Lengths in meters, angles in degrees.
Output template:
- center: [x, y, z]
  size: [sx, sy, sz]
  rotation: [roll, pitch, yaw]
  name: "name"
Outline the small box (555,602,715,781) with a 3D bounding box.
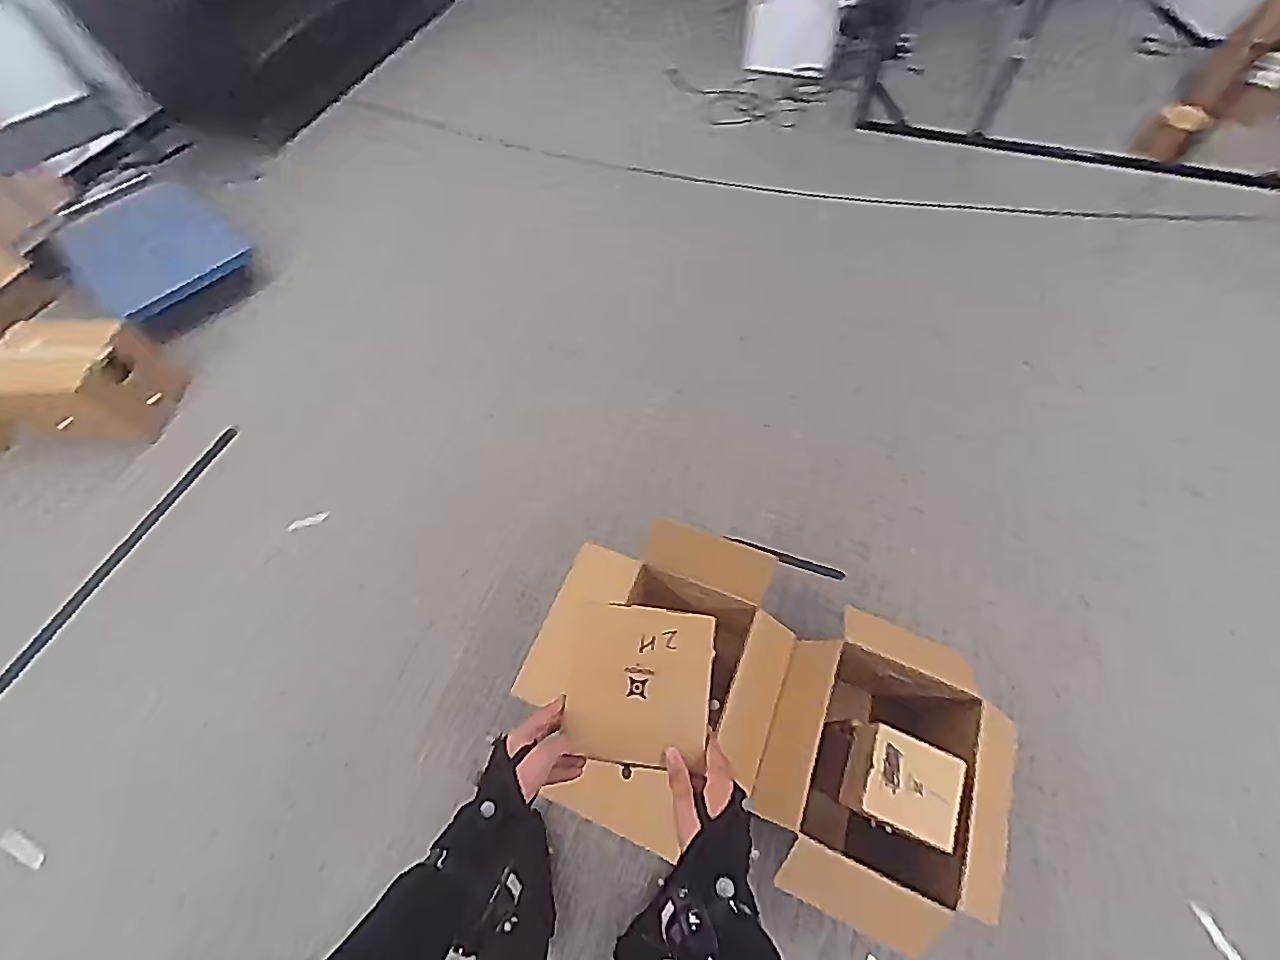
- center: [0.001, 0.274, 0.693]
  size: [0.168, 0.176, 0.179]
  rotation: [7, 62, 5]
  name: "small box"
